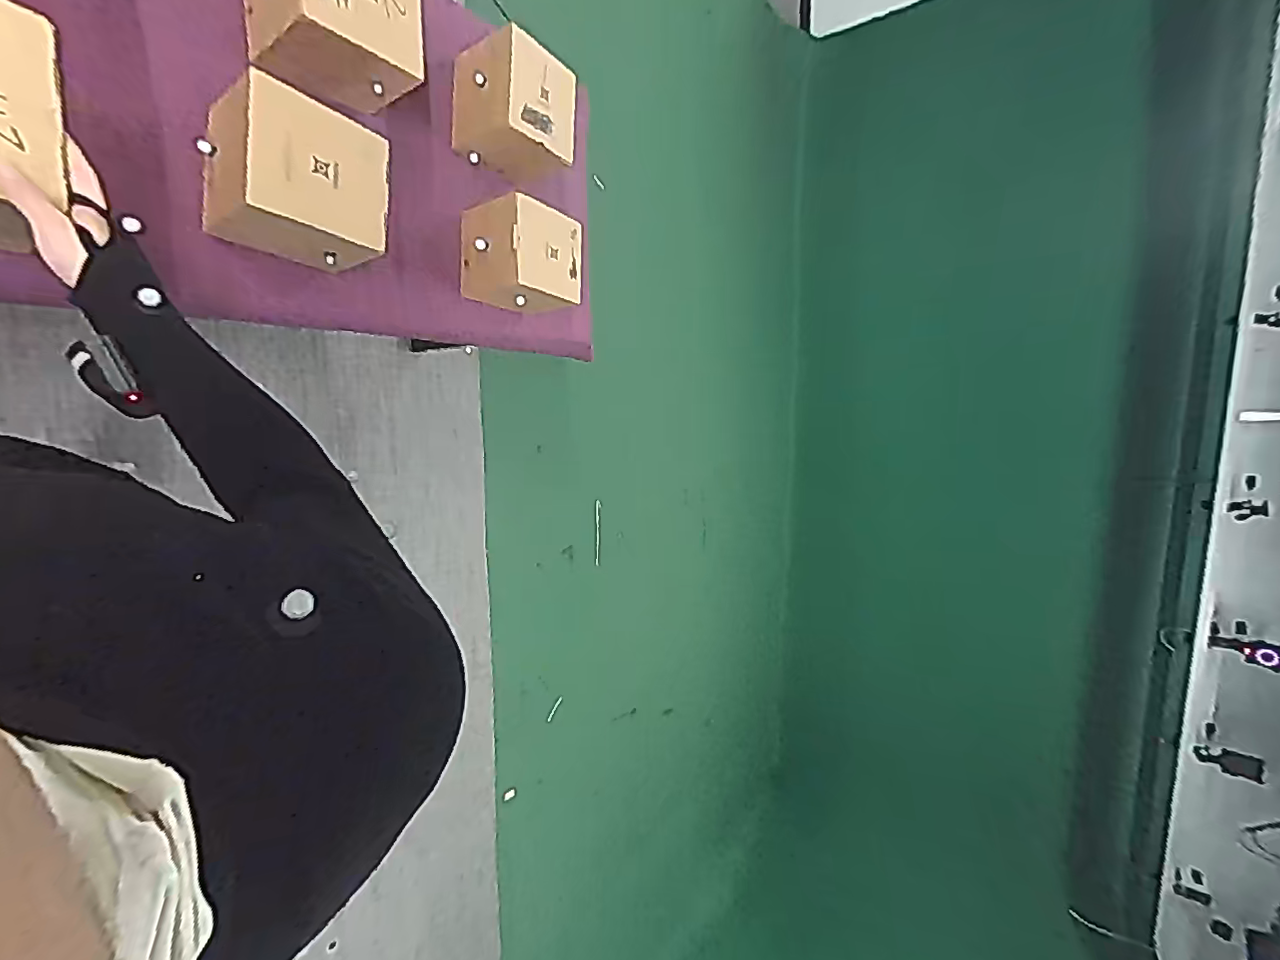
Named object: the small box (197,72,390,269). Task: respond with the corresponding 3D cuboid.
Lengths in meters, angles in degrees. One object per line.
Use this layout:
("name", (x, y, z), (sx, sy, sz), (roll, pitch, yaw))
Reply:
("small box", (-0.483, -0.412, 0.760), (0.179, 0.176, 0.168), (2, 91, -54))

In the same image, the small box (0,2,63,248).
("small box", (-0.617, -0.306, 0.438), (0.179, 0.176, 0.168), (-5, 97, -58))

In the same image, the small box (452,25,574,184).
("small box", (-0.248, -0.709, 1.051), (0.168, 0.176, 0.179), (-1, 95, -54))

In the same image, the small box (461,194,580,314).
("small box", (-0.242, -0.441, 1.090), (0.179, 0.176, 0.168), (-3, 95, -53))
